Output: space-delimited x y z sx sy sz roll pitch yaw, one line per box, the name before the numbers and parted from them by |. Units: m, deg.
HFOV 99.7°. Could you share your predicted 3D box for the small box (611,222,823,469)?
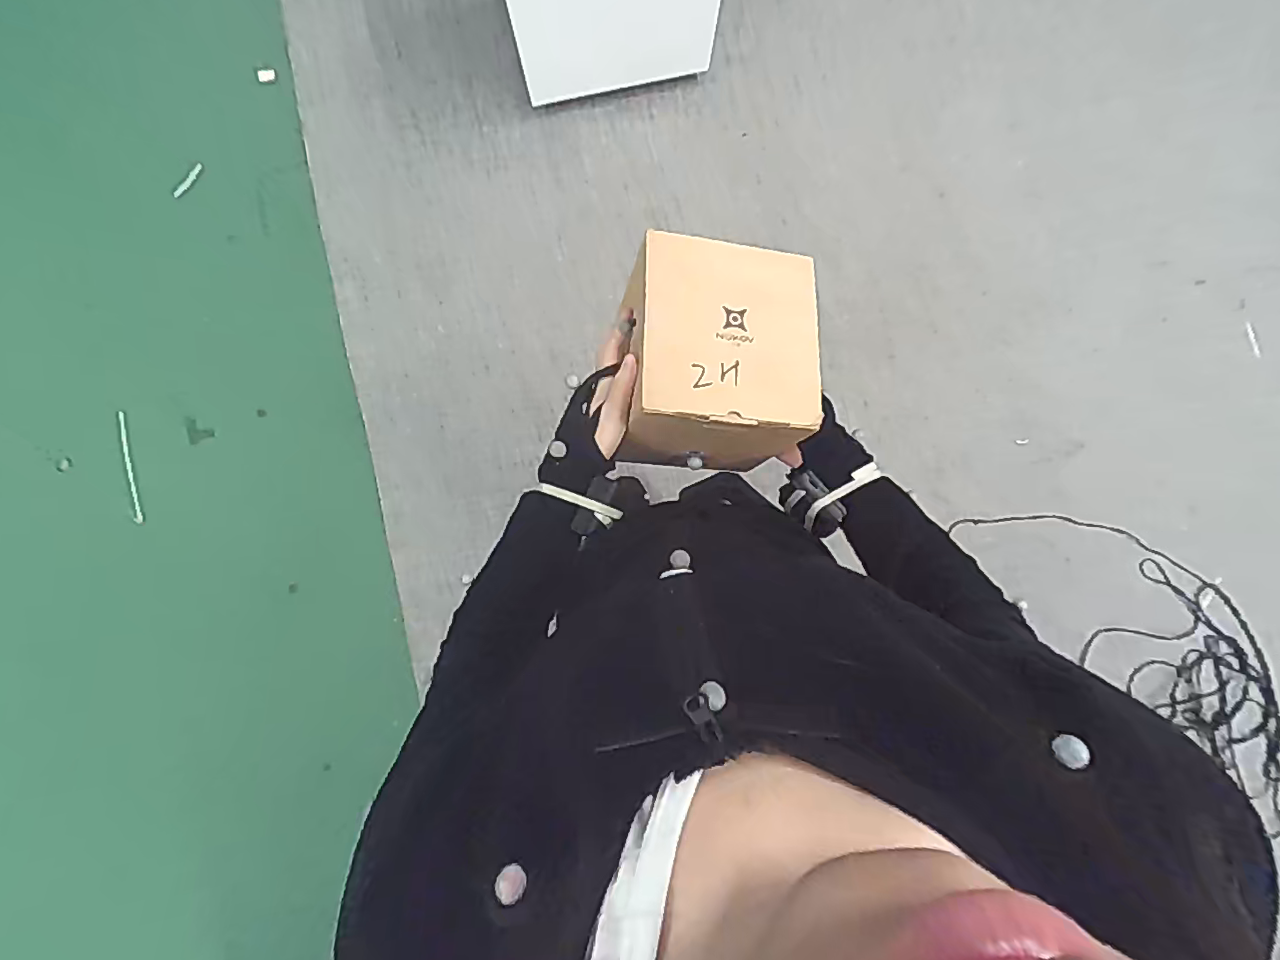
small box | 0.065 -0.121 0.549 0.168 0.176 0.179 4 77 -11
